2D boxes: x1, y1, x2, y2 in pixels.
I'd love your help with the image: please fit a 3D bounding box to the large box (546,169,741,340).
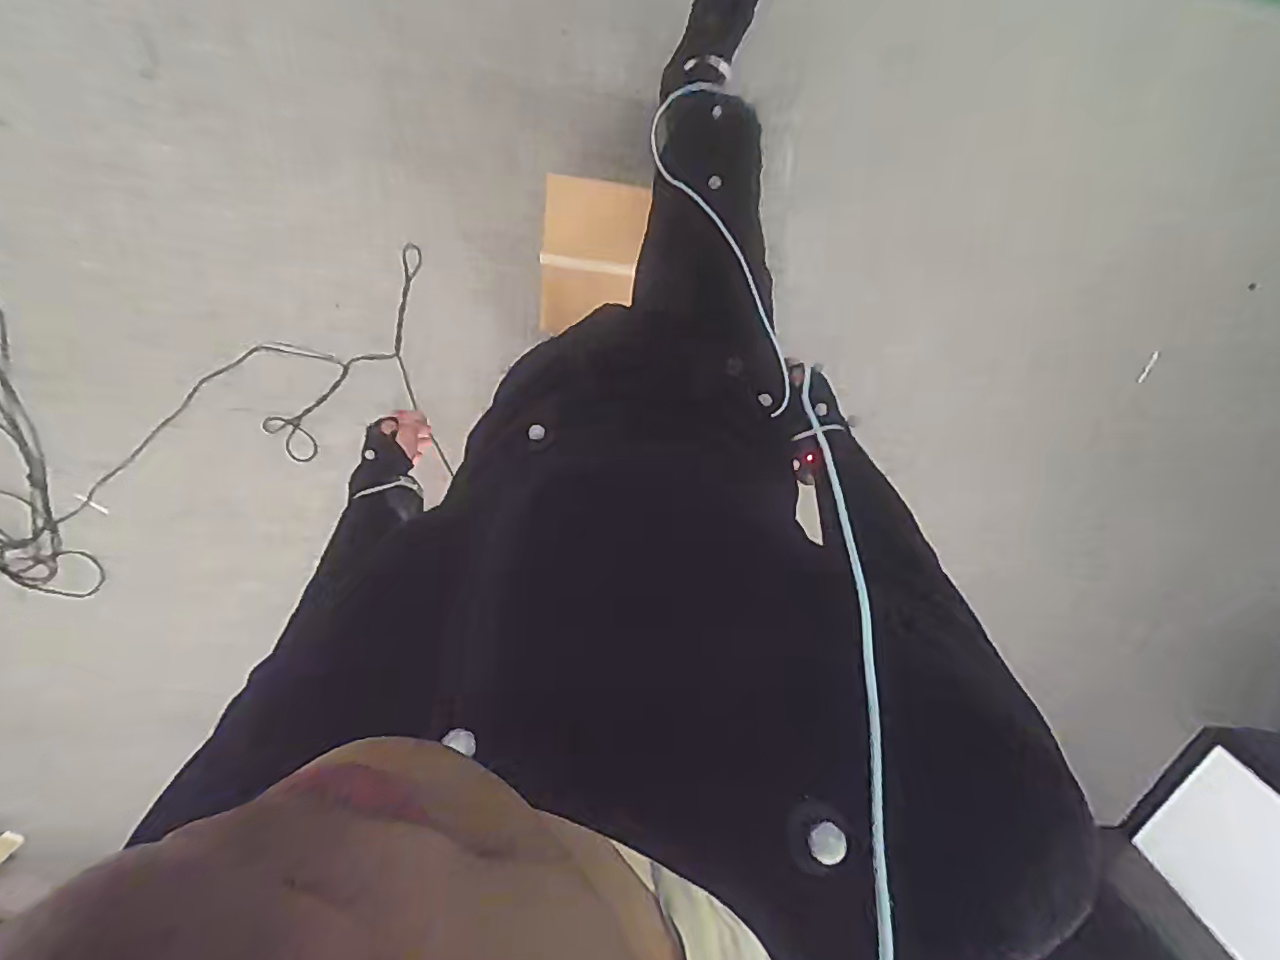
[{"bbox_3d":[-0.017,-0.535,1.294,0.408,0.320,0.320,3,117,-9],"label":"large box"}]
